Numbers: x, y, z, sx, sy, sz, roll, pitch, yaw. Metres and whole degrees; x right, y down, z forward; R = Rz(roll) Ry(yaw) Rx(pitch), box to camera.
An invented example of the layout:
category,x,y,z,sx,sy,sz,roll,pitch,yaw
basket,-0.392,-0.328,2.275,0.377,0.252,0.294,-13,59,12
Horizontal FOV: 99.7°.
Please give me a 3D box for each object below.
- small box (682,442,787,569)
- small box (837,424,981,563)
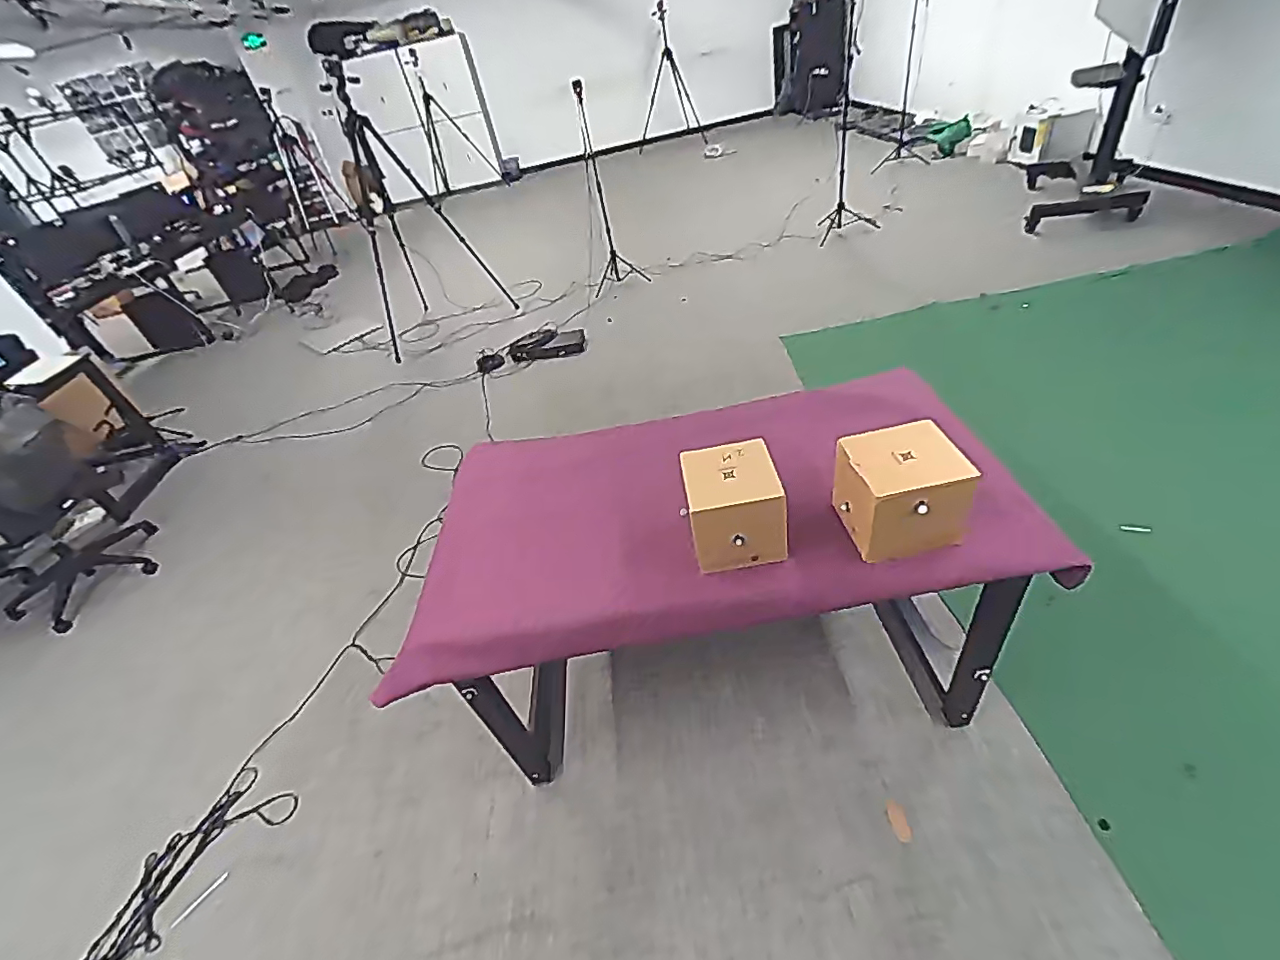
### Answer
category,x,y,z,sx,sy,sz,roll,pitch,yaw
small box,0.181,0.055,1.039,0.168,0.176,0.179,-10,38,5
small box,0.475,0.026,0.987,0.179,0.176,0.168,-13,40,3
